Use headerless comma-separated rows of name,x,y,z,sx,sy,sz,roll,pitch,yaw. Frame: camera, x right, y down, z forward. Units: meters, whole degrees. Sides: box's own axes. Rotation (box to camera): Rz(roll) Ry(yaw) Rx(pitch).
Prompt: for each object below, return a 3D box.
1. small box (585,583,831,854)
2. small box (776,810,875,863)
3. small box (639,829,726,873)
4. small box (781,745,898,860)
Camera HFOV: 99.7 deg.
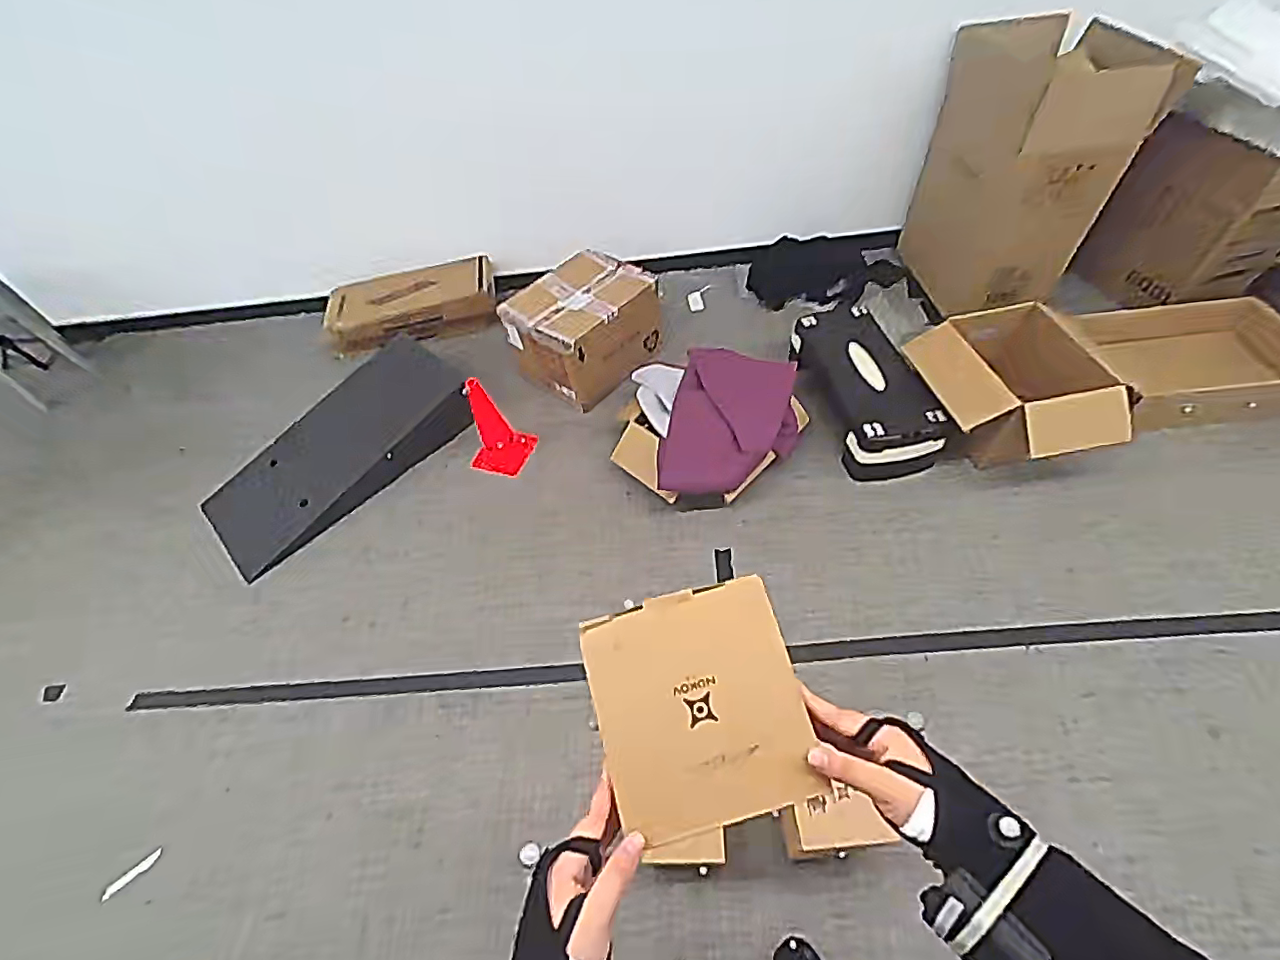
small box,0.053,0.215,0.522,0.168,0.176,0.179,-16,73,-3
small box,0.390,0.727,1.182,0.168,0.176,0.179,-7,52,2
small box,0.093,0.760,1.192,0.179,0.176,0.168,-4,52,5
small box,0.366,0.629,1.050,0.179,0.176,0.168,-6,52,2
